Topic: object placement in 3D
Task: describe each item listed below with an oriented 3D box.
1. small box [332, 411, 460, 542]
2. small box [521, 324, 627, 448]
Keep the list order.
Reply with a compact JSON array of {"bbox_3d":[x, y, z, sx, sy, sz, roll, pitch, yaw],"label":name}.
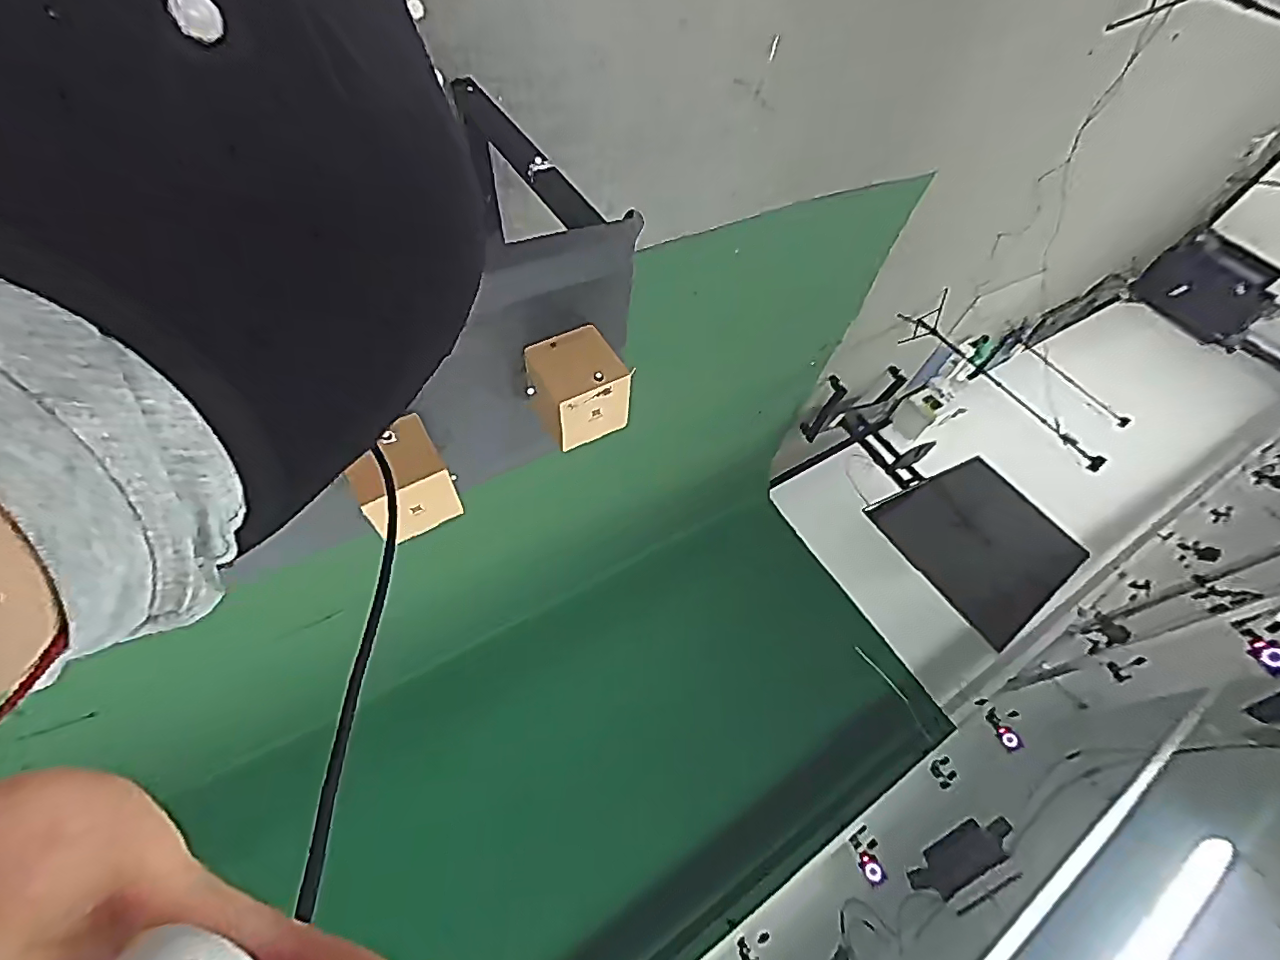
[{"bbox_3d":[-0.493,-0.008,1.106,0.168,0.176,0.179,-28,154,-20],"label":"small box"},{"bbox_3d":[-0.147,-0.207,1.187,0.168,0.176,0.179,-27,156,-20],"label":"small box"}]
